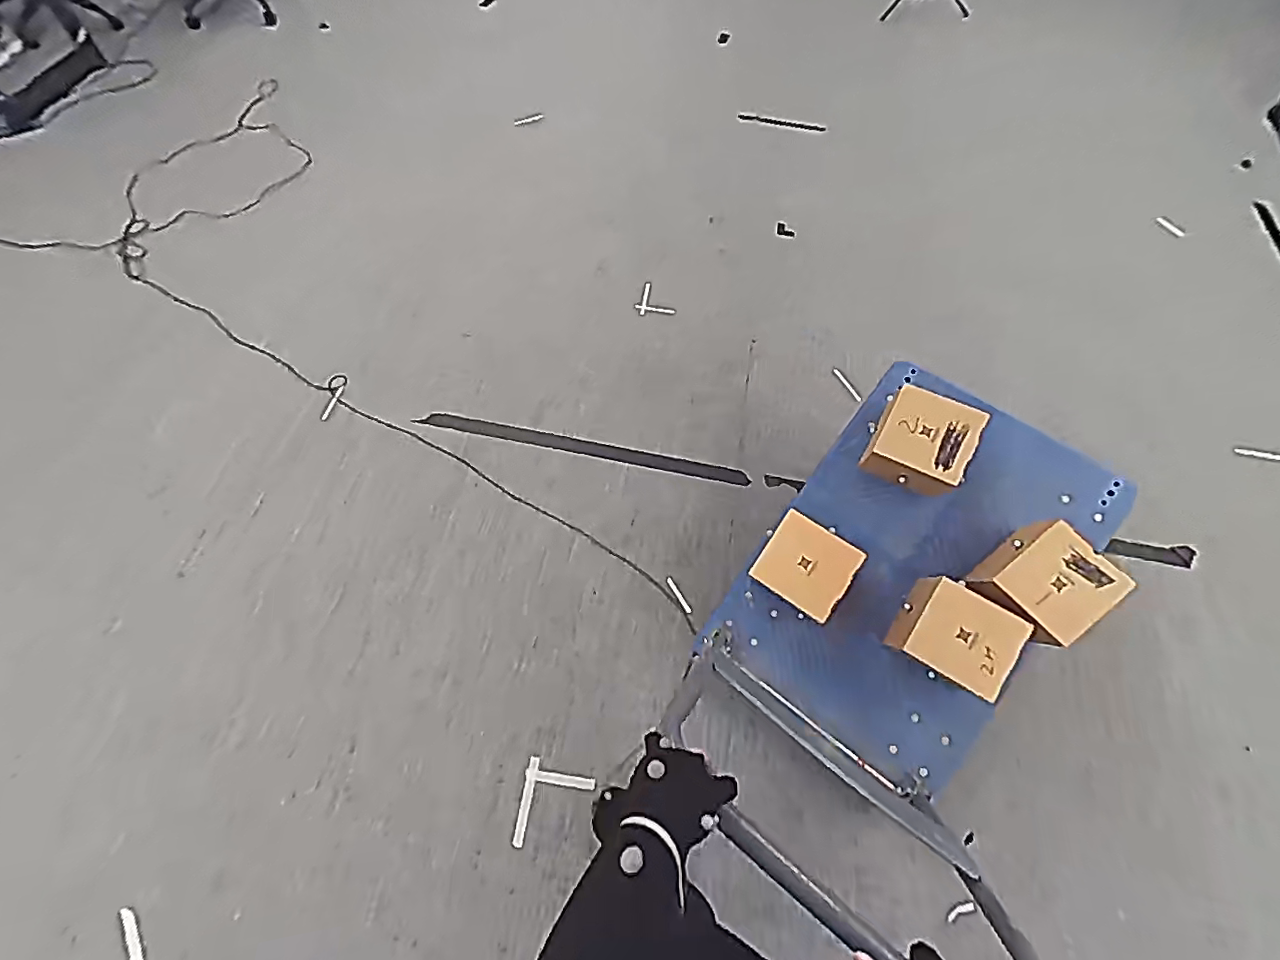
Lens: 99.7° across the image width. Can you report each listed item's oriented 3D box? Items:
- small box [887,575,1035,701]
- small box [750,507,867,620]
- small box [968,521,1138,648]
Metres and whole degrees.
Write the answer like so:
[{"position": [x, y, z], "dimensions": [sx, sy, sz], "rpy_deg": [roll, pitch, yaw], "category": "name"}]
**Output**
[{"position": [0.627, 0.310, 1.082], "dimensions": [0.179, 0.176, 0.168], "rpy_deg": [31, 86, 16], "category": "small box"}, {"position": [0.352, 0.184, 1.167], "dimensions": [0.179, 0.176, 0.168], "rpy_deg": [34, 86, 15], "category": "small box"}, {"position": [0.797, 0.205, 1.069], "dimensions": [0.179, 0.176, 0.168], "rpy_deg": [-42, 73, 2], "category": "small box"}]
